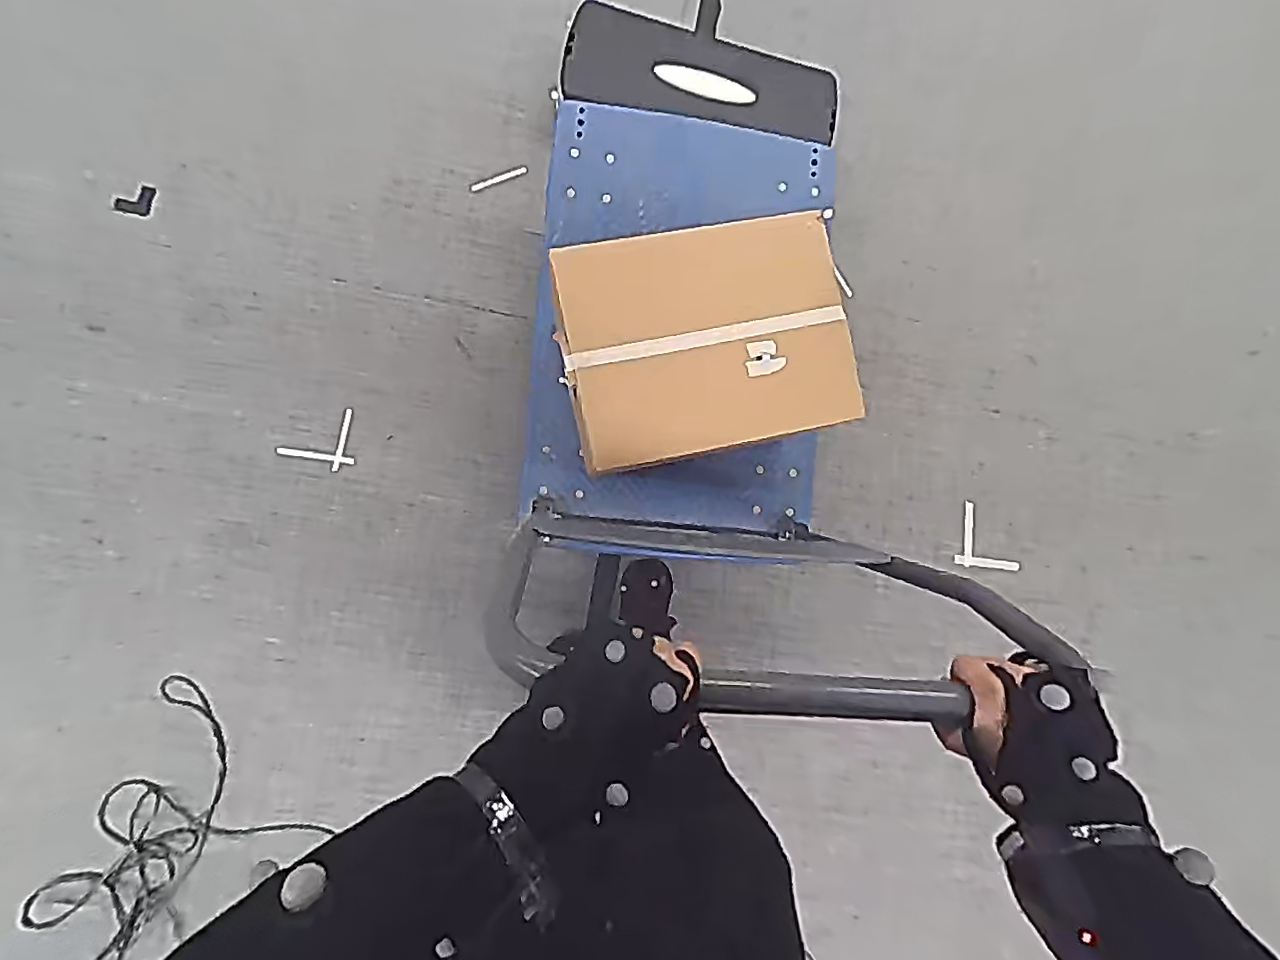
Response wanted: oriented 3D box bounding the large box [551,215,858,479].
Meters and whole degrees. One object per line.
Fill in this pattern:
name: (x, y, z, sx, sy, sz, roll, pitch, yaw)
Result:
large box: (0.080, -0.196, 0.918, 0.408, 0.320, 0.320, -12, 91, -9)
